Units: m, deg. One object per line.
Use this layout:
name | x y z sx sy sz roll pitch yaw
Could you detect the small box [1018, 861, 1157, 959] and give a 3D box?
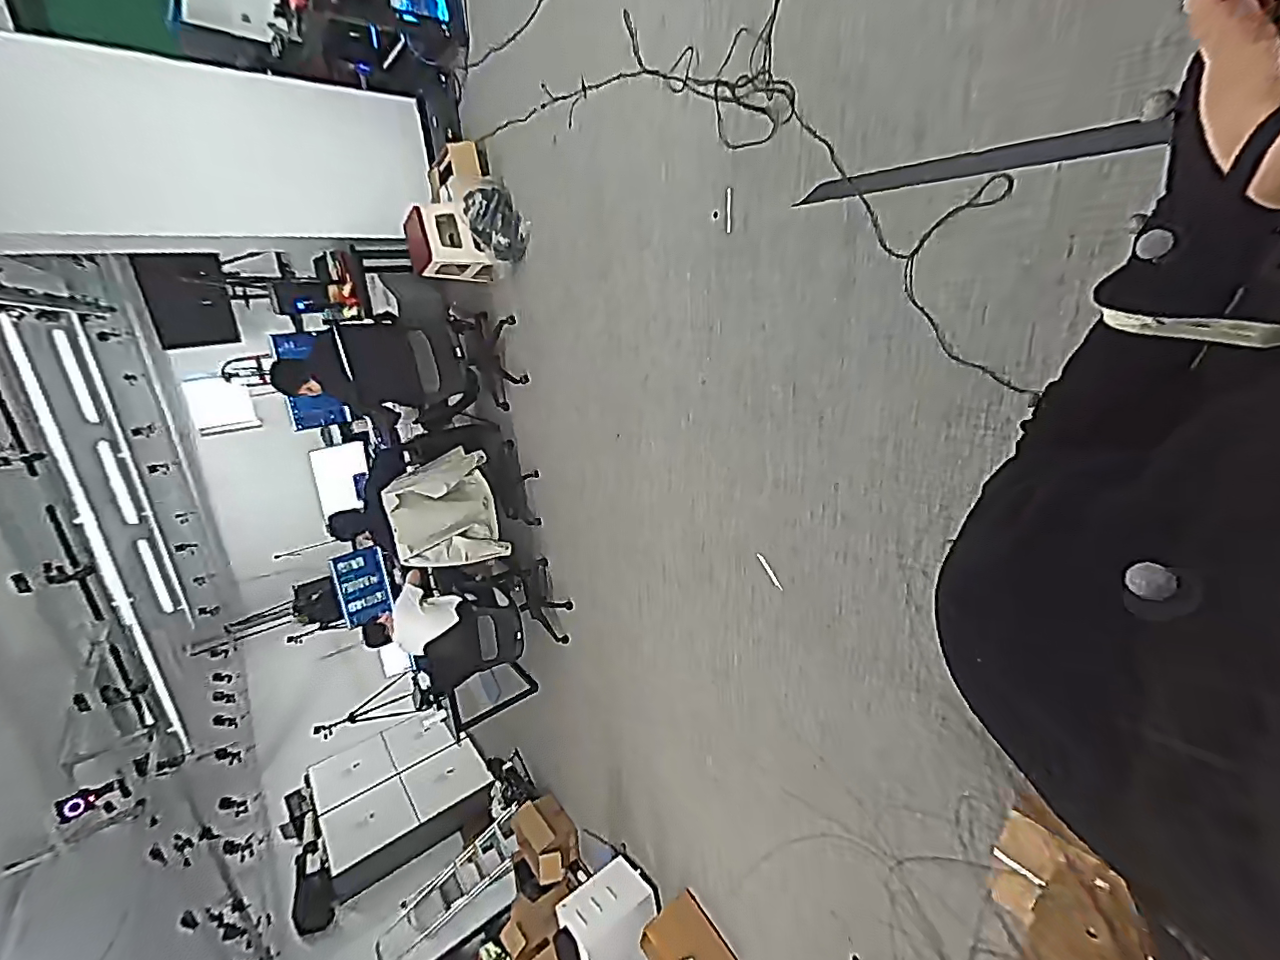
small box | 0.936 0.959 1.131 0.179 0.176 0.168 20 119 50
